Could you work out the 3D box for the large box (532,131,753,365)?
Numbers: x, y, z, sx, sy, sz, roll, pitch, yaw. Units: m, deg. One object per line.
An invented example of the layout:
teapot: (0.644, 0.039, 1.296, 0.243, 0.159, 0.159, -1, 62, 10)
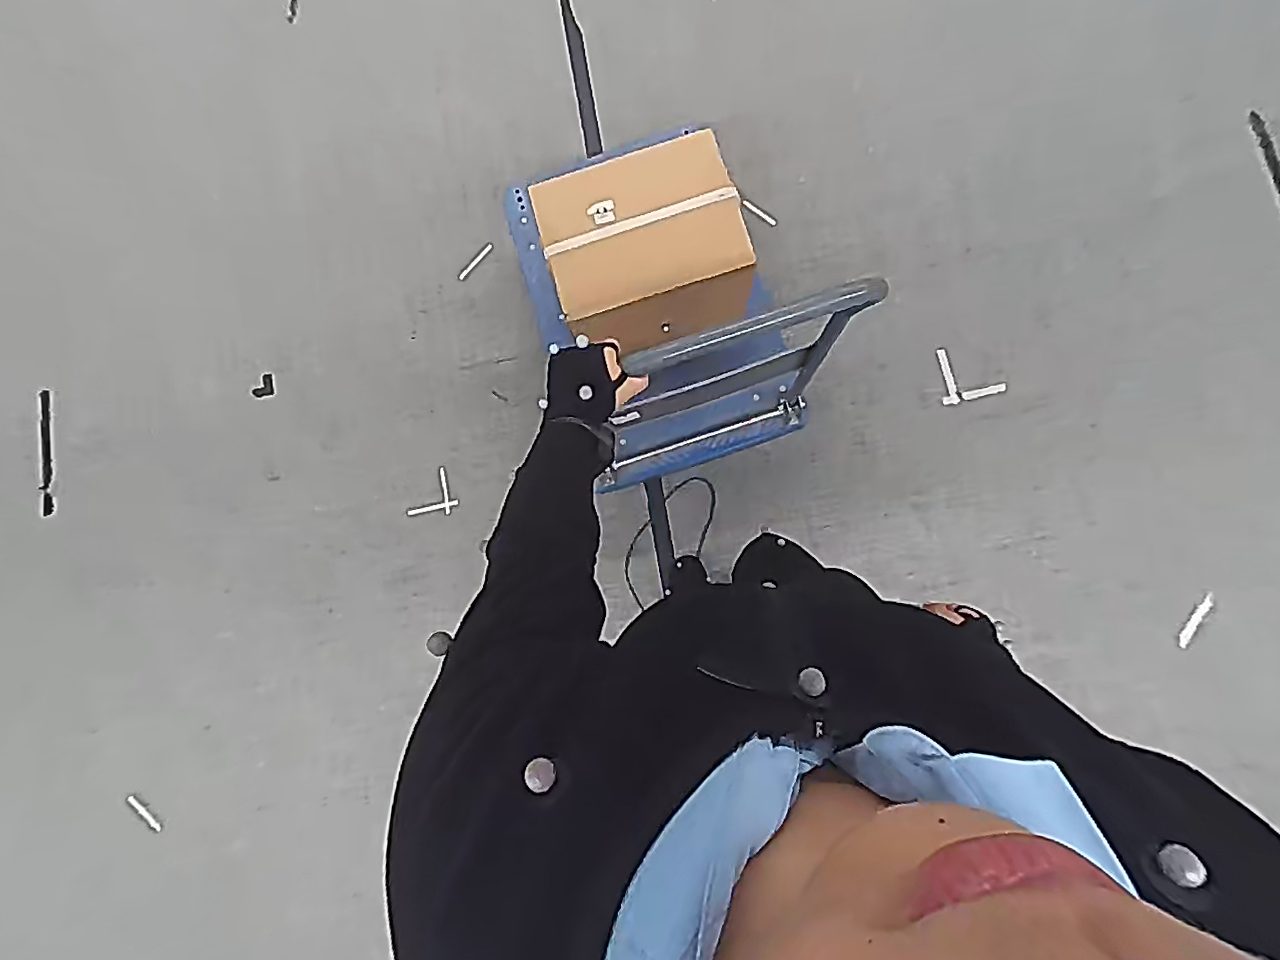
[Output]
large box: (0.015, -0.512, 1.268, 0.408, 0.320, 0.320, -17, 82, 4)
